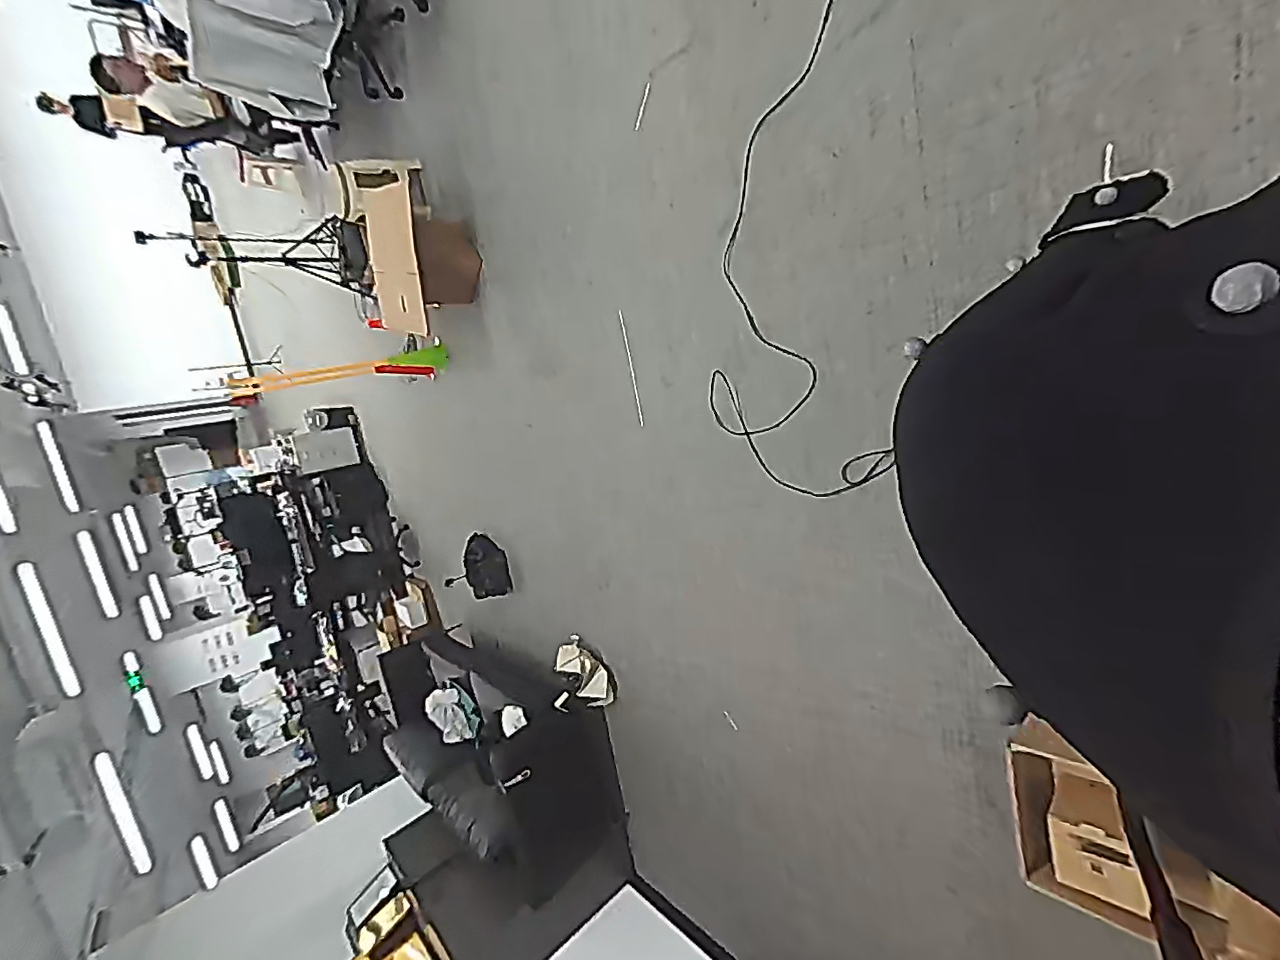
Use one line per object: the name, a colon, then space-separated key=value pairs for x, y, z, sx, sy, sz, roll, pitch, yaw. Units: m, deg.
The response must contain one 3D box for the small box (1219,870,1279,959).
small box: x=1.129 y=0.840 z=0.932 sx=0.168 sy=0.176 sz=0.179 roll=-1 pitch=105 yaw=51
